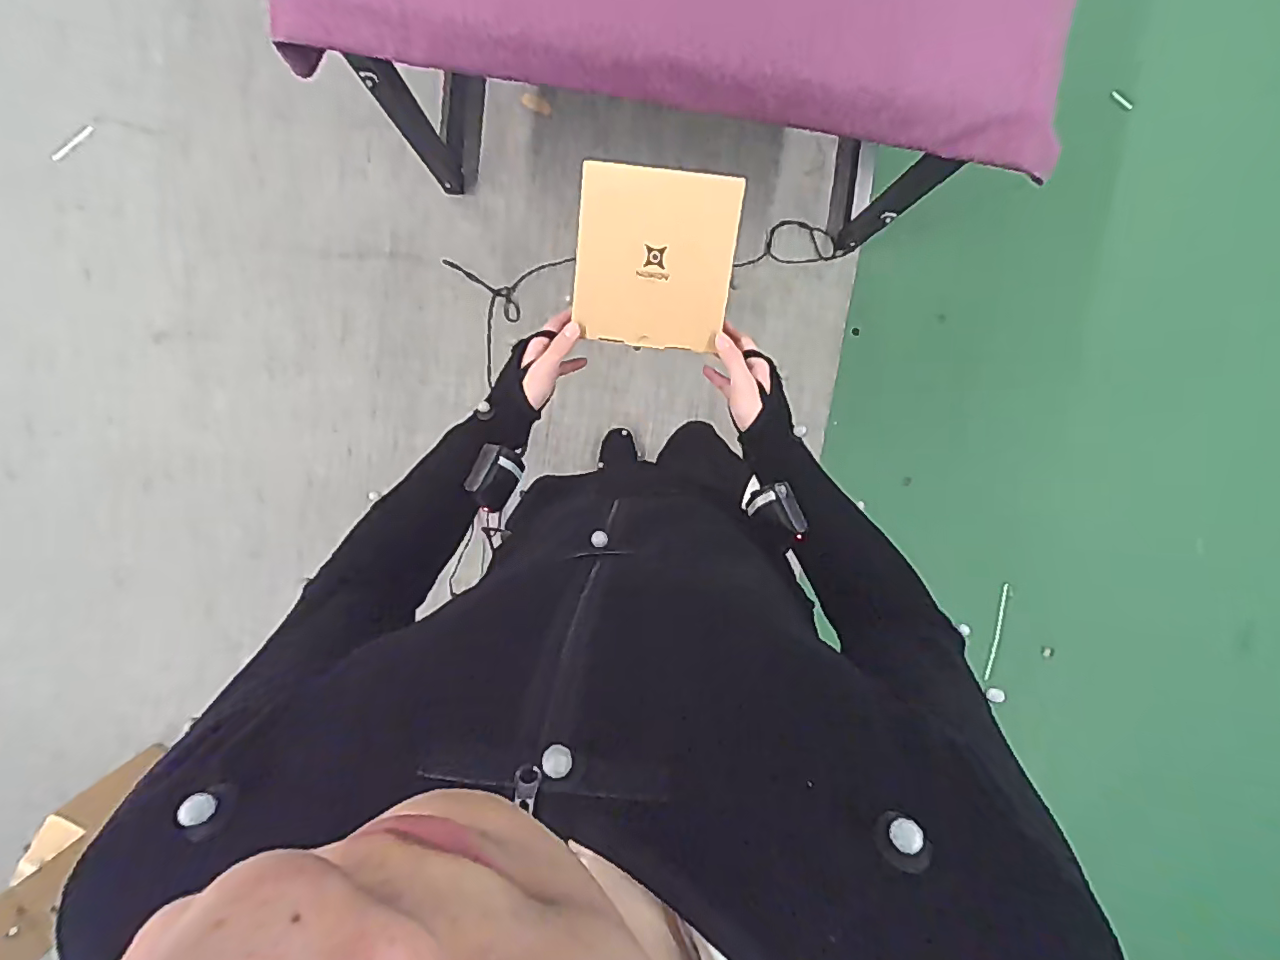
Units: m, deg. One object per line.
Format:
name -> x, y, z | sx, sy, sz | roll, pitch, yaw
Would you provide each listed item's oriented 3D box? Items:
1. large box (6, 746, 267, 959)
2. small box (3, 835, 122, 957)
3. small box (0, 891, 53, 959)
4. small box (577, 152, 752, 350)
large box -> -1.390, 1.041, 1.519 | 0.408, 0.320, 0.320 | 31, 94, -6
small box -> -1.398, 0.996, 1.268 | 0.179, 0.176, 0.168 | -38, 96, 1
small box -> -1.393, 1.008, 1.102 | 0.179, 0.176, 0.168 | -39, 96, 0
small box -> 0.023, -0.259, 0.638 | 0.168, 0.176, 0.179 | 7, 109, 0
